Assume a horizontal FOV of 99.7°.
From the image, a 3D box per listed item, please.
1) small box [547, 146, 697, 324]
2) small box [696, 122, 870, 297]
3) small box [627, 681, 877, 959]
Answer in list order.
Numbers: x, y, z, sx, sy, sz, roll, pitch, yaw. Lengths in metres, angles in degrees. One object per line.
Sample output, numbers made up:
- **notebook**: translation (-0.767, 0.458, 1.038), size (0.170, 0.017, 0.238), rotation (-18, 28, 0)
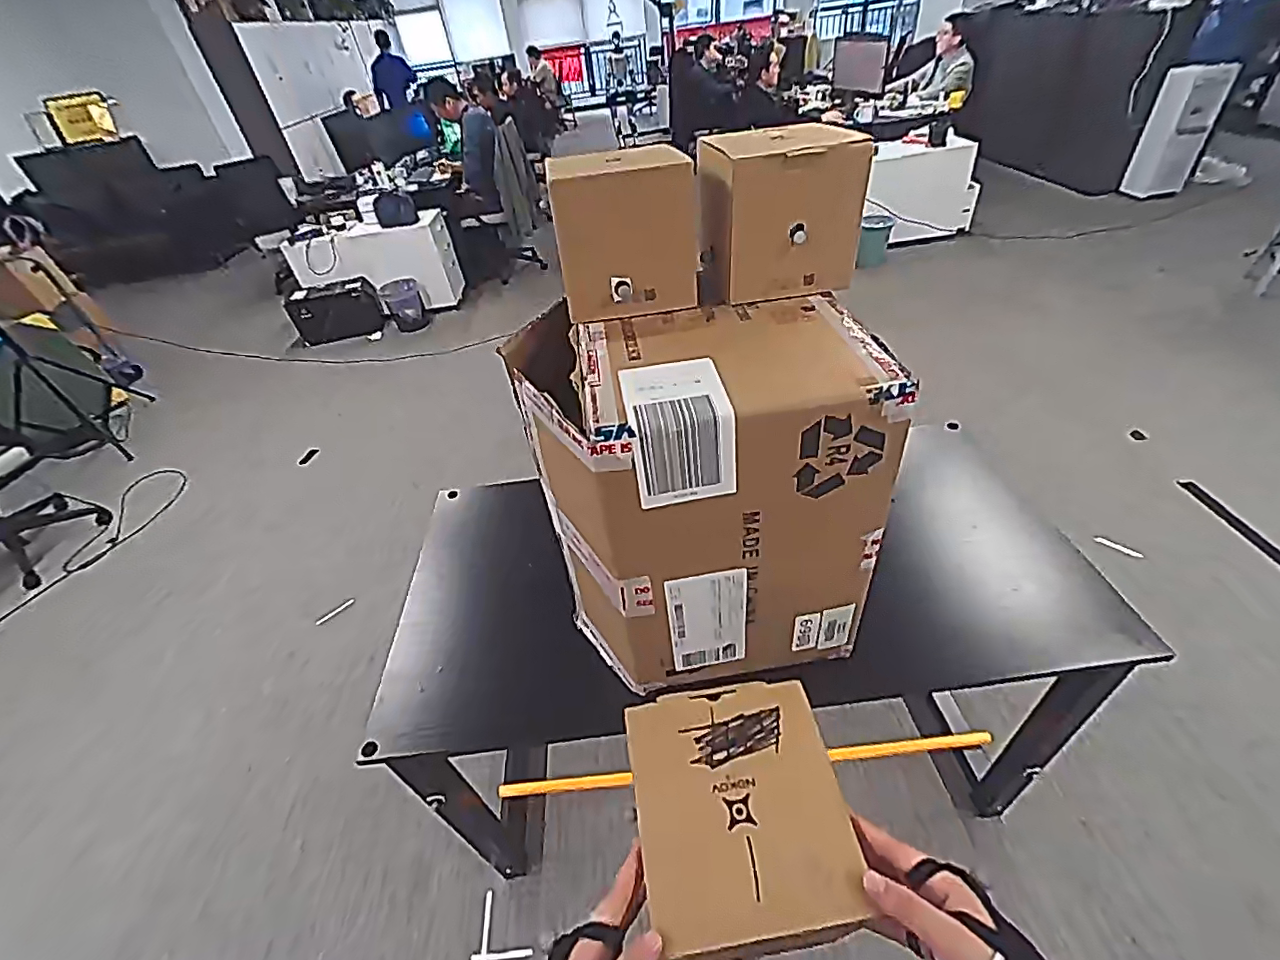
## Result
- **small box**: translation (-0.025, -0.322, 0.708), size (0.168, 0.176, 0.179), rotation (-11, 39, -4)
- **small box**: translation (0.173, -0.350, 0.710), size (0.168, 0.176, 0.179), rotation (-8, 40, -4)
- **small box**: translation (0.081, 0.313, 0.493), size (0.168, 0.176, 0.179), rotation (-8, 45, -3)
